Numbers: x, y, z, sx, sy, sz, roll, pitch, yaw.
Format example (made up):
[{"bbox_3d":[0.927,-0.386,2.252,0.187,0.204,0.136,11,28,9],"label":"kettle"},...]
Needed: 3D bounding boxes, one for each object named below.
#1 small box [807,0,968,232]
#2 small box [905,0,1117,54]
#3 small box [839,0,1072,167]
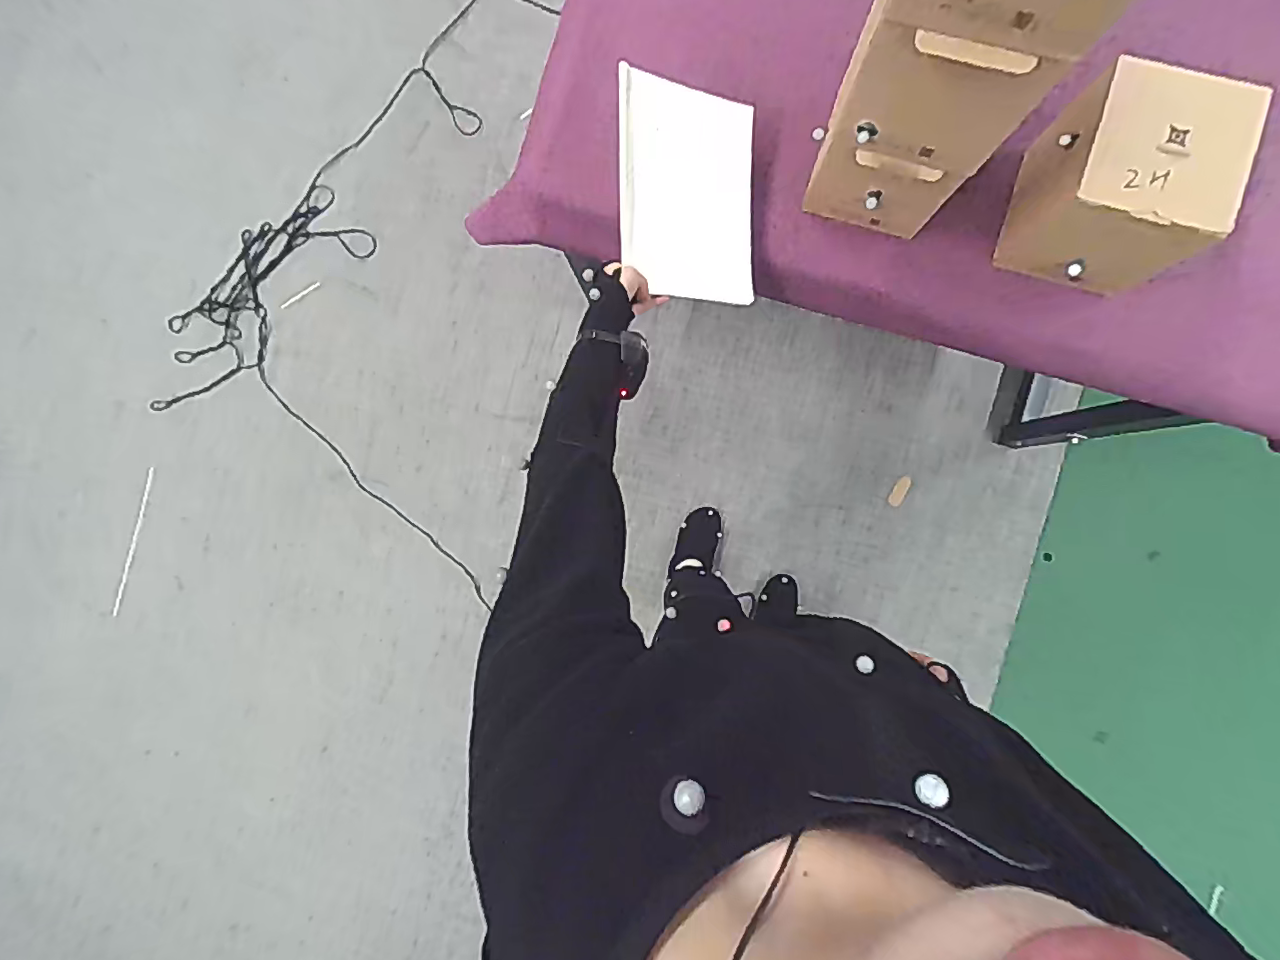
[{"bbox_3d":[0.331,-0.456,0.703,0.168,0.176,0.179,18,90,5],"label":"small box"},{"bbox_3d":[0.302,-0.455,0.376,0.168,0.176,0.179,19,89,4],"label":"small box"},{"bbox_3d":[0.316,-0.455,0.539,0.168,0.176,0.179,18,89,5],"label":"small box"}]
